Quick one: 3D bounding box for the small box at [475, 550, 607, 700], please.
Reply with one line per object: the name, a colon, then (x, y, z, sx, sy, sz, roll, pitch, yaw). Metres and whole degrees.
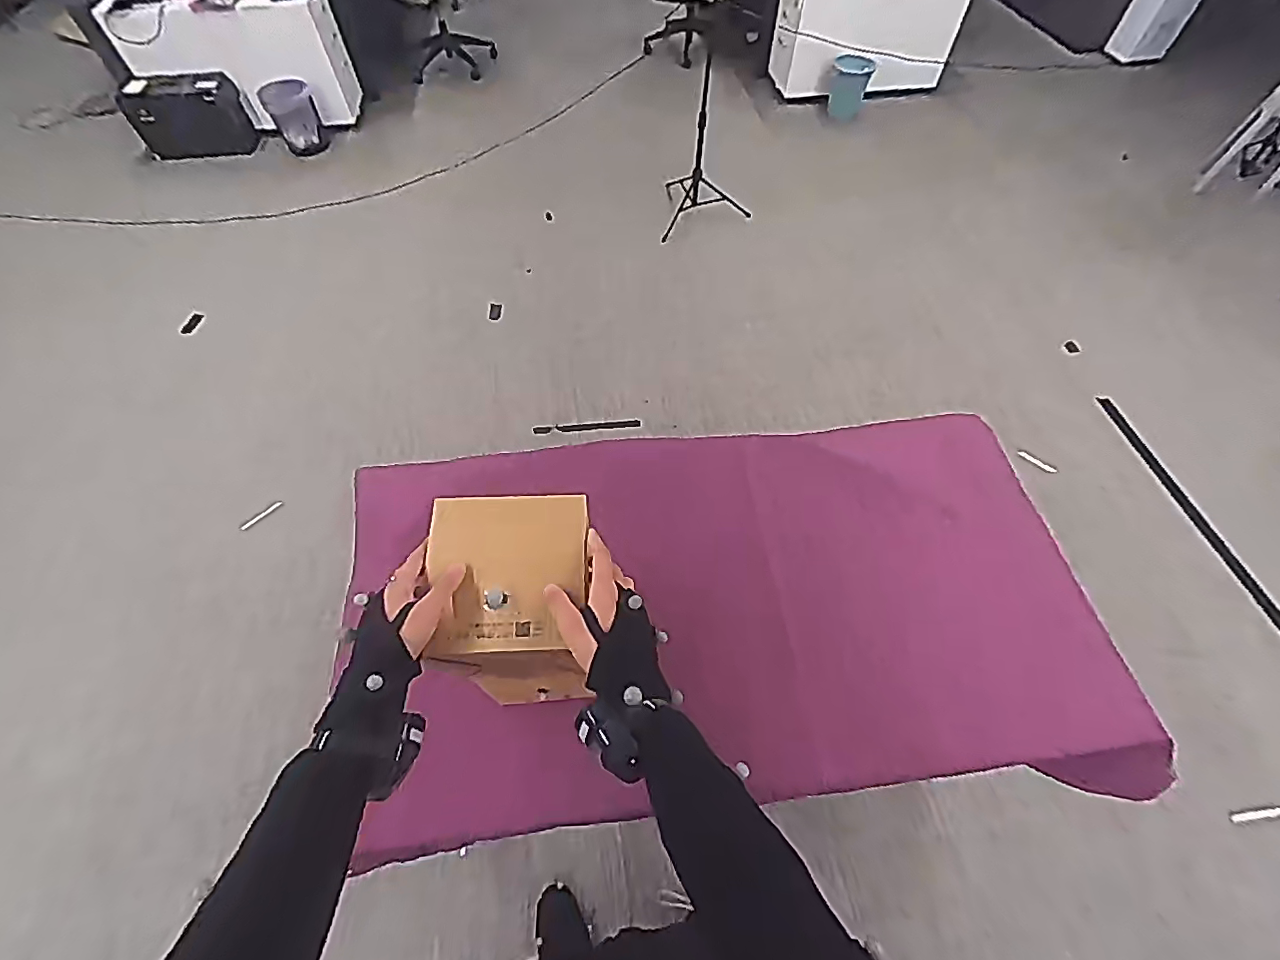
small box: (-0.136, 0.217, 0.793, 0.168, 0.176, 0.179, -3, 57, -3)

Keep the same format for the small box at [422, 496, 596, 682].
small box: (-0.138, 0.132, 0.624, 0.168, 0.179, 0.176, -1, 61, -3)
